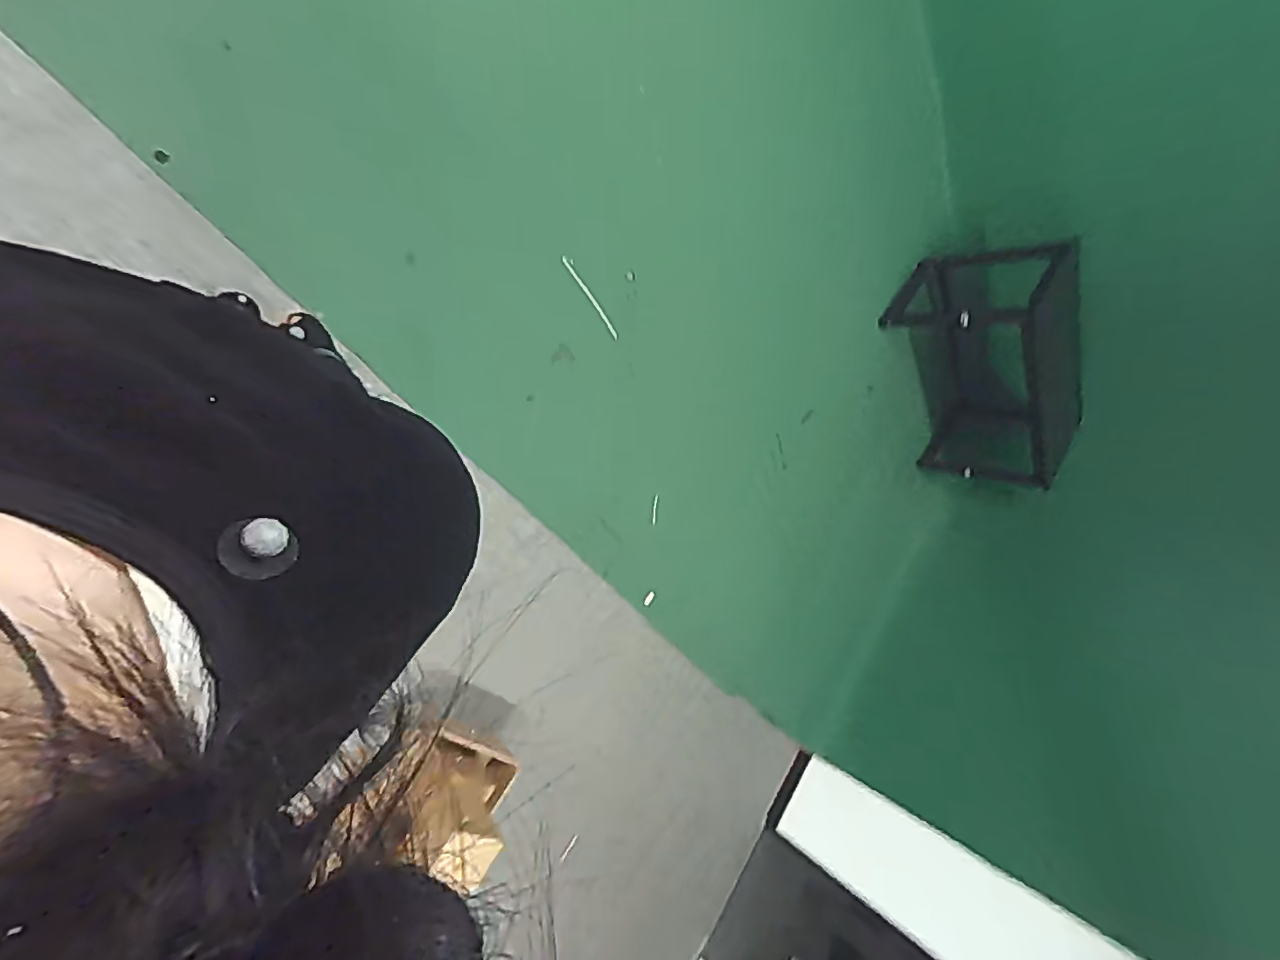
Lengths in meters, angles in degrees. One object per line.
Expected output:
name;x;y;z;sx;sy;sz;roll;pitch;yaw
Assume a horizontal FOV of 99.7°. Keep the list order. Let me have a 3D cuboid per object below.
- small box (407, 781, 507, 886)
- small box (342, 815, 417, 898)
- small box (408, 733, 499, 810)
small box;-0.503;0.955;1.471;0.179;0.176;0.168;41;77;-37
small box;-0.718;1.096;1.543;0.168;0.176;0.179;39;75;-38
small box;-0.564;0.895;1.619;0.168;0.176;0.179;43;75;-36
